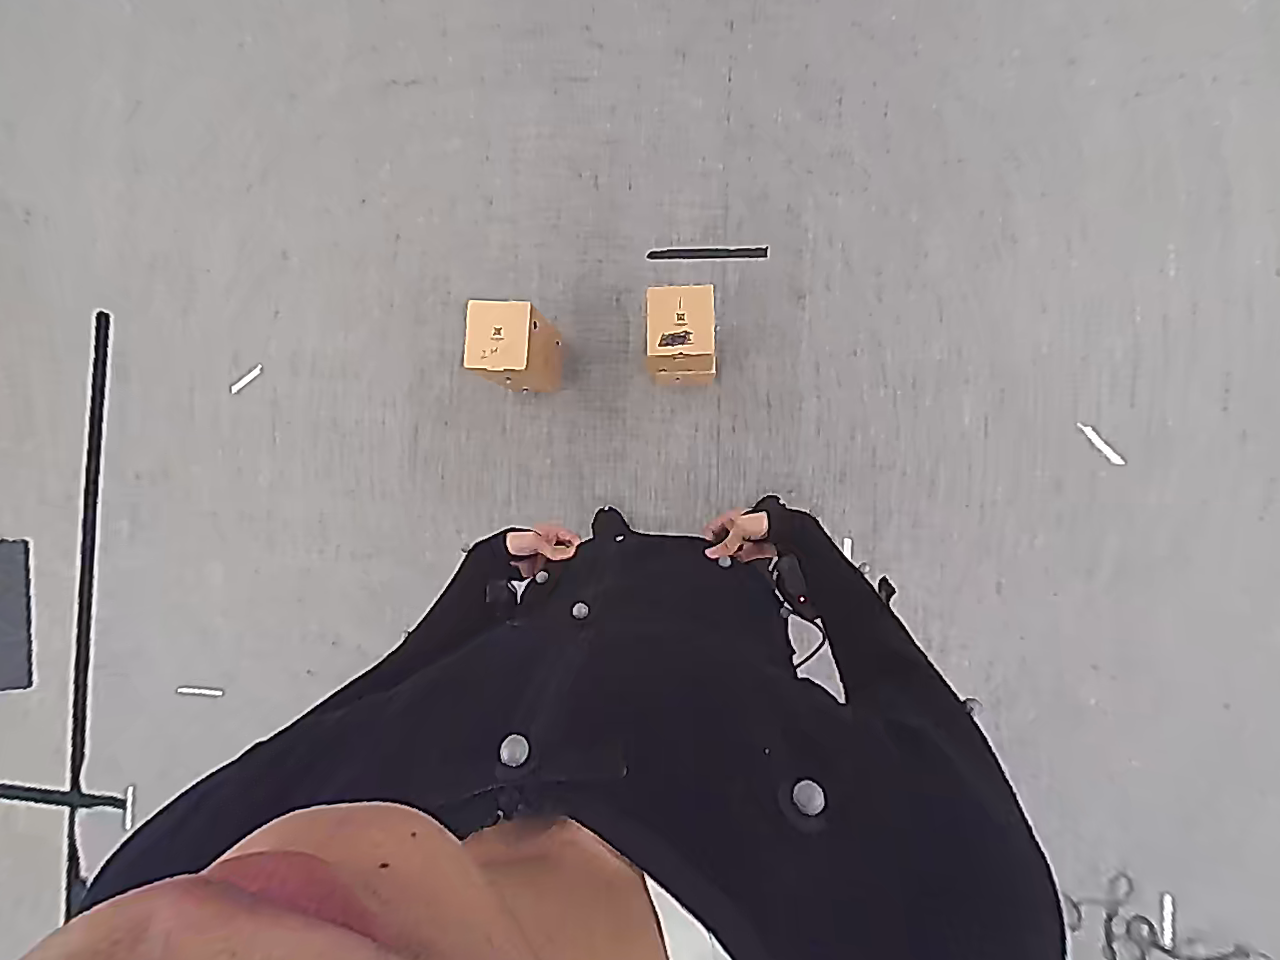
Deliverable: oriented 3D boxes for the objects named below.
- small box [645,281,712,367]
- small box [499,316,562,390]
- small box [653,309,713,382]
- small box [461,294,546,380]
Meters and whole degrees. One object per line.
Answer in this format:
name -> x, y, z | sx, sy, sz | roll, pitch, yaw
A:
small box -> 0.101, -0.391, 1.386 | 0.168, 0.176, 0.179 | 0, 87, 5
small box -> -0.330, -0.371, 1.585 | 0.168, 0.176, 0.179 | 4, 89, 6
small box -> 0.125, -0.380, 1.548 | 0.168, 0.176, 0.179 | 0, 88, 5
small box -> -0.352, -0.371, 1.422 | 0.168, 0.176, 0.179 | 4, 90, 6
